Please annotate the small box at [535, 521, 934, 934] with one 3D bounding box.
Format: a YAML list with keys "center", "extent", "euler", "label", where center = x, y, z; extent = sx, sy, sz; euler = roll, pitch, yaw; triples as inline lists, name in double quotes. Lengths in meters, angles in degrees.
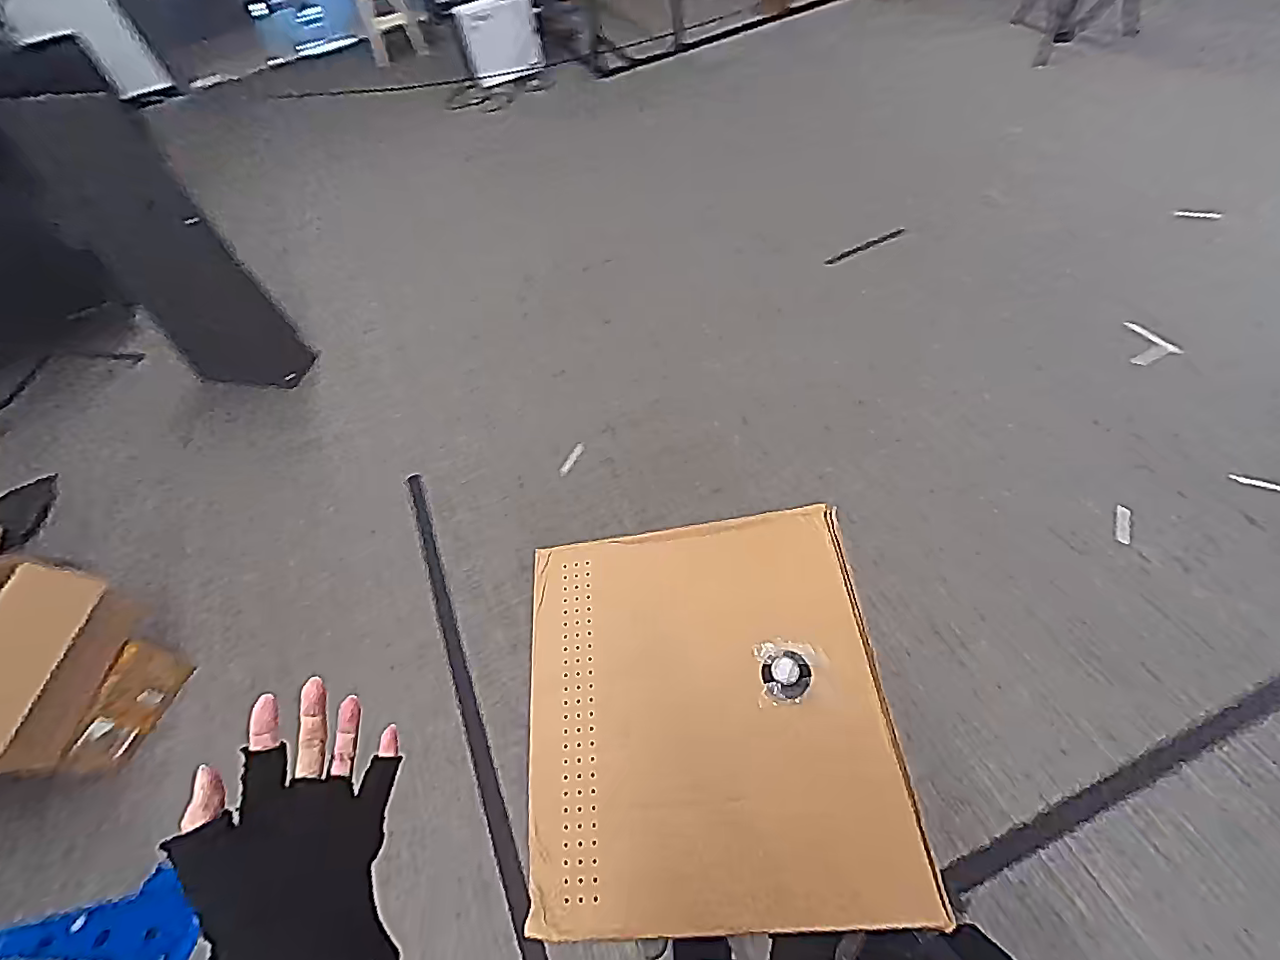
- center: [0.045, 0.148, 0.328]
  extent: [0.176, 0.168, 0.179]
  euler: [-10, 58, 10]
  label: "small box"
